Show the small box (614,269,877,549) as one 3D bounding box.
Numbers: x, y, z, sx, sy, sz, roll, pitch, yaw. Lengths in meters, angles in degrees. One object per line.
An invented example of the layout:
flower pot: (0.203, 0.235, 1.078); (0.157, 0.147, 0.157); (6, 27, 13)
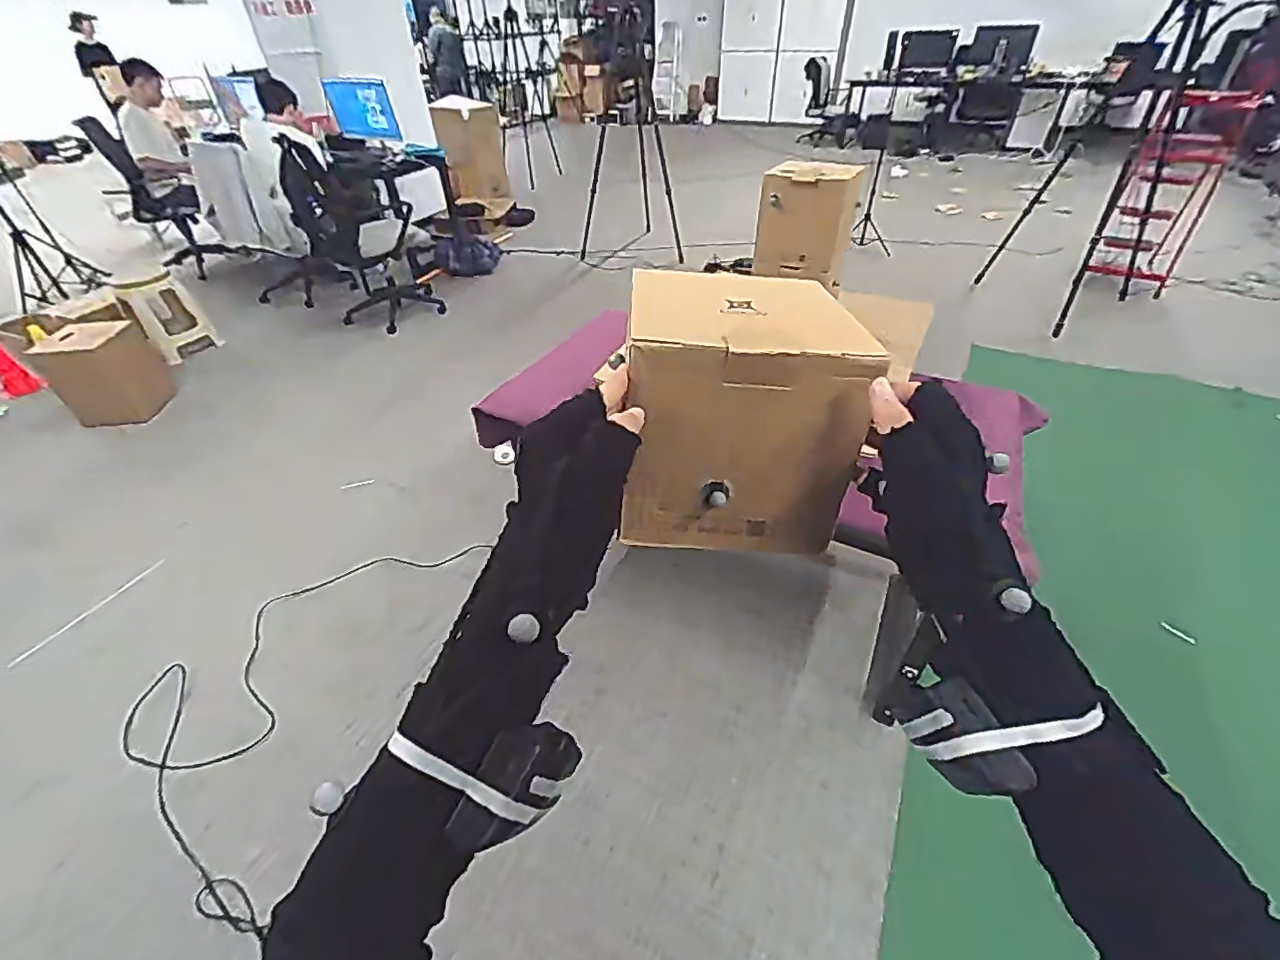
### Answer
small box: (0.065, -0.065, 0.457); (0.168, 0.176, 0.179); (3, 35, -3)

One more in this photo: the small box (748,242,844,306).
small box: (0.351, -0.429, 1.242); (0.168, 0.176, 0.179); (19, 42, 23)
